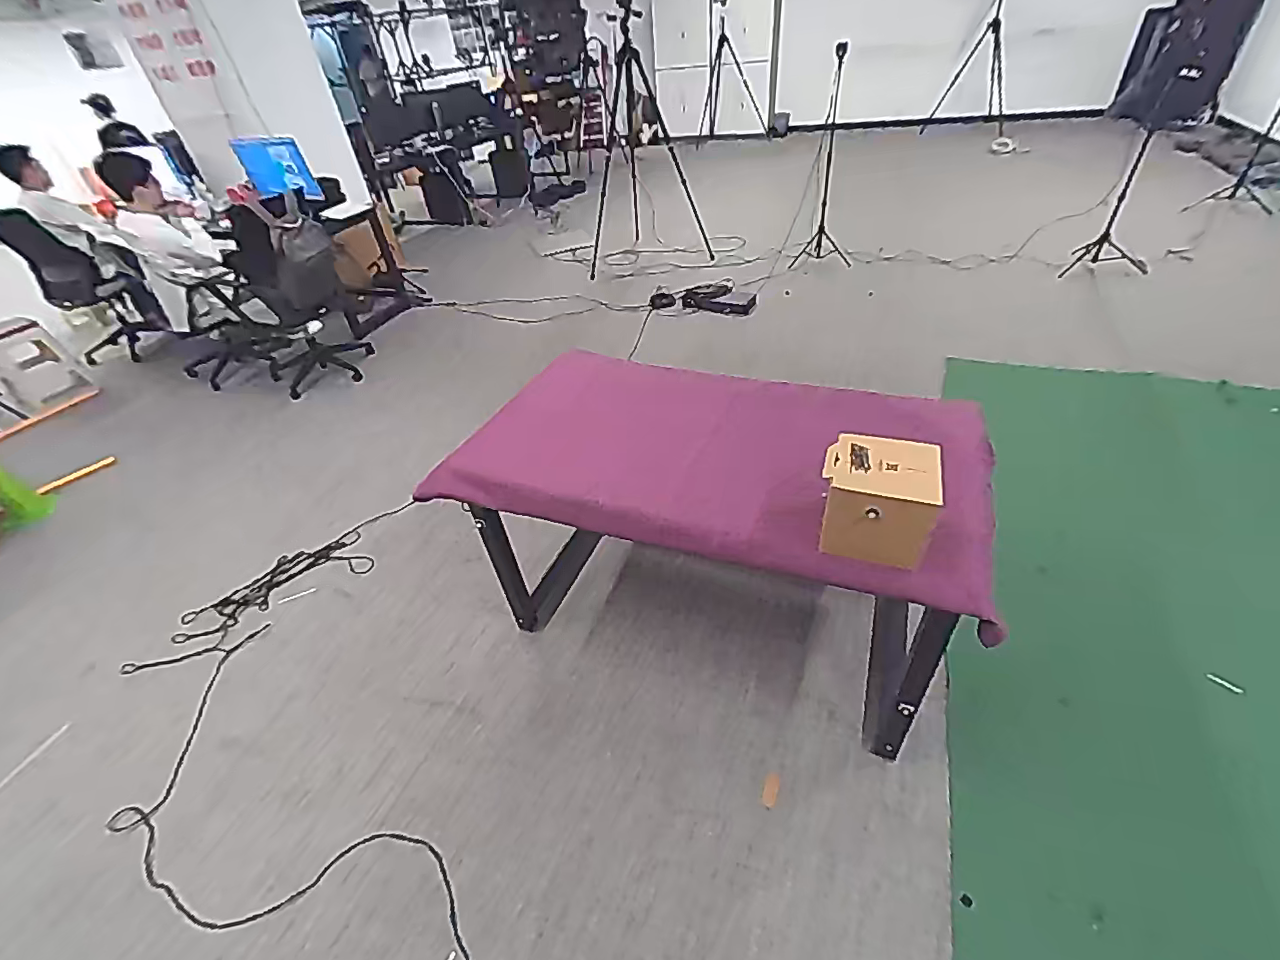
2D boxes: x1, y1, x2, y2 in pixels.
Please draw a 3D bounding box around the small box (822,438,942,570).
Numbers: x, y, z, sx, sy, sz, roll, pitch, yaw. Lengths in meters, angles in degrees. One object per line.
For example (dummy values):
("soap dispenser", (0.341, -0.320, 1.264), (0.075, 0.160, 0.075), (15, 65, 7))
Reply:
("small box", (0.444, 0.045, 1.005), (0.179, 0.176, 0.168), (10, 43, 20))
